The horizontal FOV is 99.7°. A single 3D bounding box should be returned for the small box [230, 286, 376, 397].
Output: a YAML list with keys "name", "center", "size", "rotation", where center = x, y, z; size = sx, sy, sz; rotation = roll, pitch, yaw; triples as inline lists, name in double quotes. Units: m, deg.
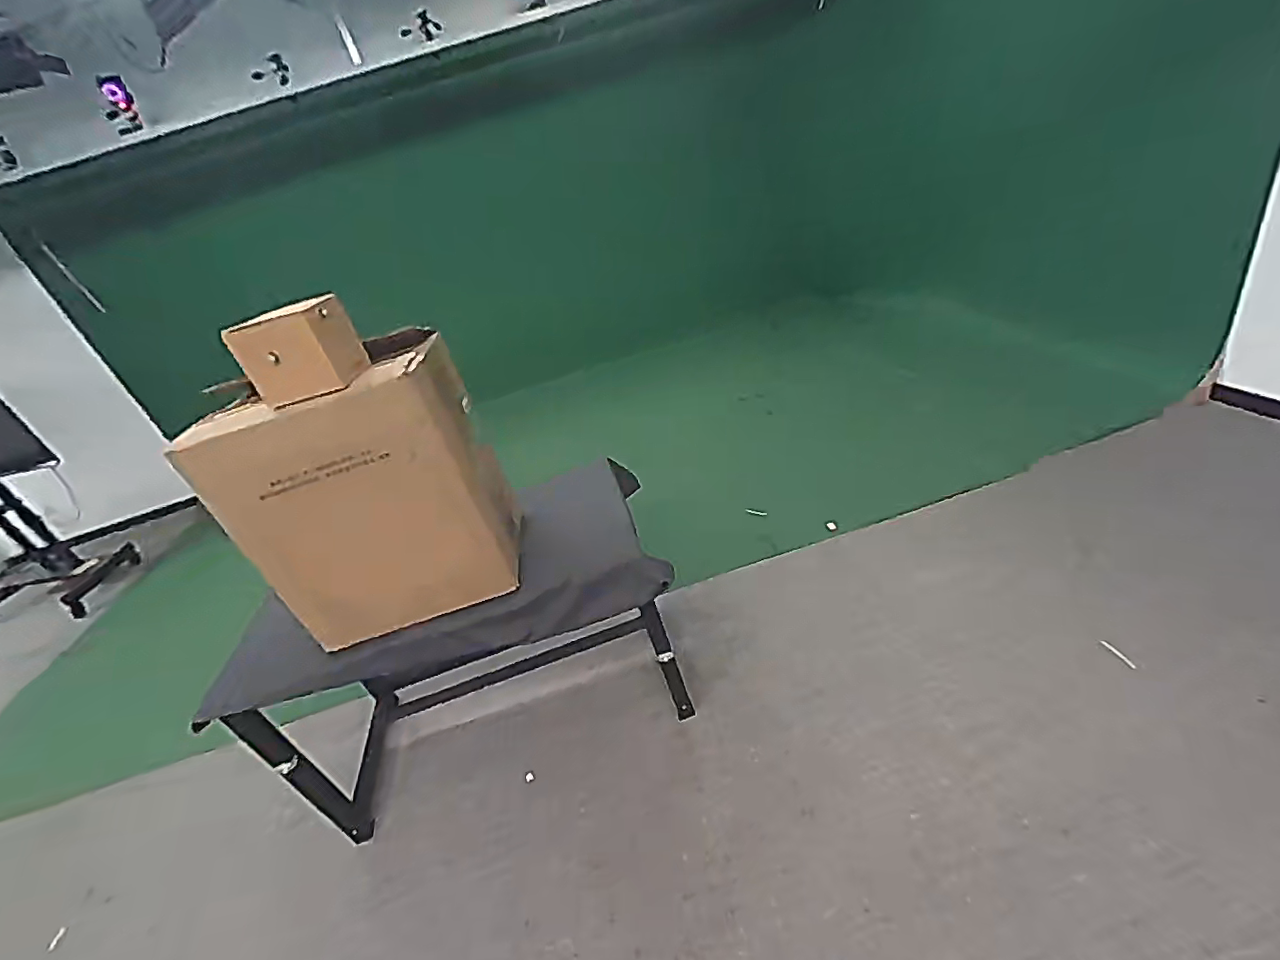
- name: "small box"
  center: [-0.716, -0.298, 1.171]
  size: [0.179, 0.176, 0.168]
  rotation: [-15, 31, 4]
